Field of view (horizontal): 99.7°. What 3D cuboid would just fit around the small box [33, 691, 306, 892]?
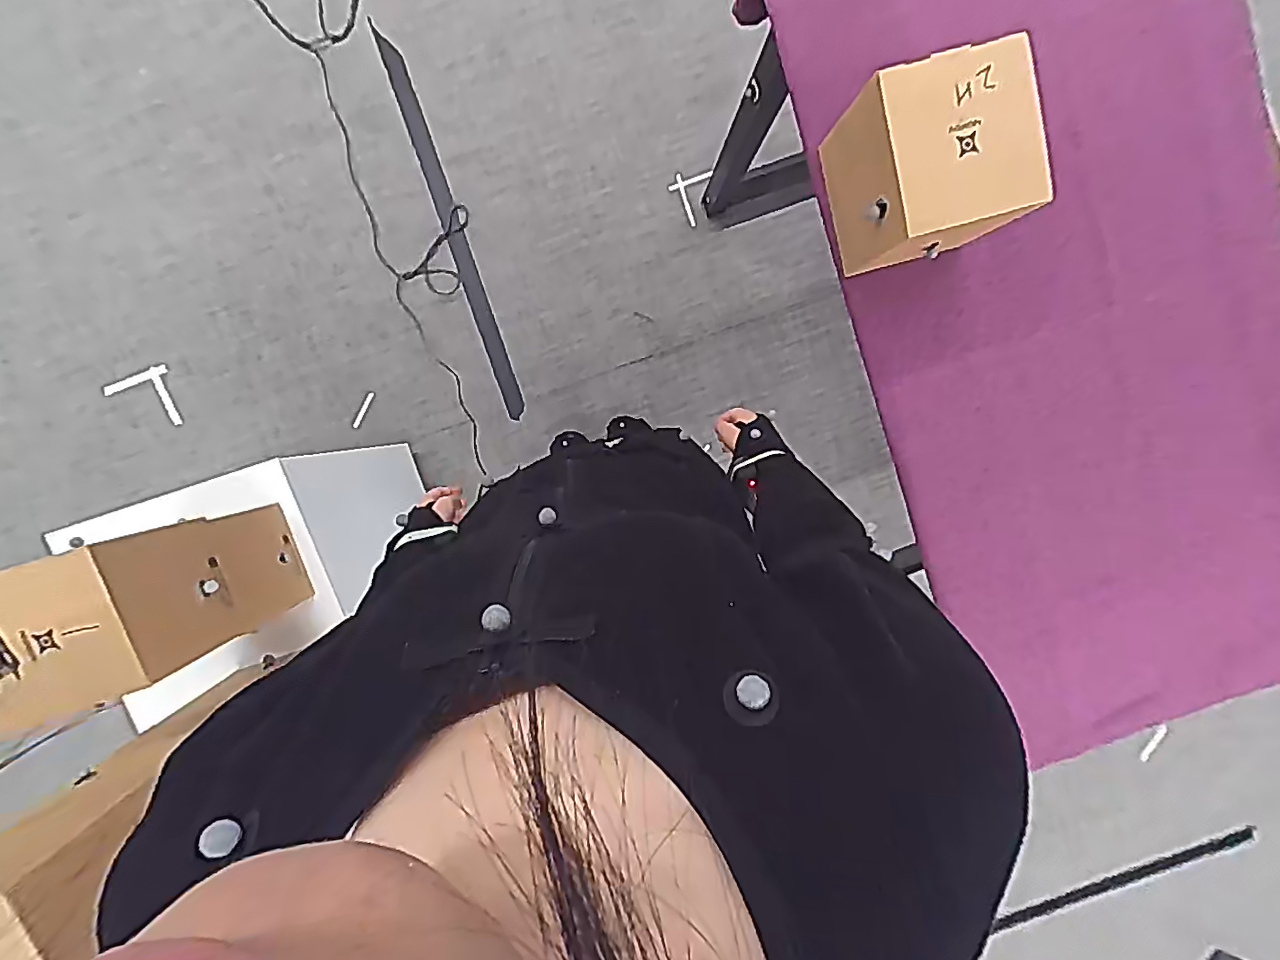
[{"bbox_3d":[-0.556,0.394,0.672,0.179,0.176,0.168,-19,97,0],"label":"small box"}]

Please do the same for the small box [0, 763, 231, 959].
[{"bbox_3d":[-0.552,0.411,0.511,0.179,0.176,0.168,-20,98,0],"label":"small box"}]

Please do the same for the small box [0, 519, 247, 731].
[{"bbox_3d":[-0.626,0.157,0.640,0.179,0.176,0.168,-17,98,-2],"label":"small box"}]

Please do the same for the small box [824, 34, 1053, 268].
[{"bbox_3d":[0.343,-0.371,0.651,0.168,0.176,0.179,-15,97,-1],"label":"small box"}]

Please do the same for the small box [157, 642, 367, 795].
[{"bbox_3d":[-0.564,0.376,0.834,0.179,0.176,0.168,-18,98,1],"label":"small box"}]
